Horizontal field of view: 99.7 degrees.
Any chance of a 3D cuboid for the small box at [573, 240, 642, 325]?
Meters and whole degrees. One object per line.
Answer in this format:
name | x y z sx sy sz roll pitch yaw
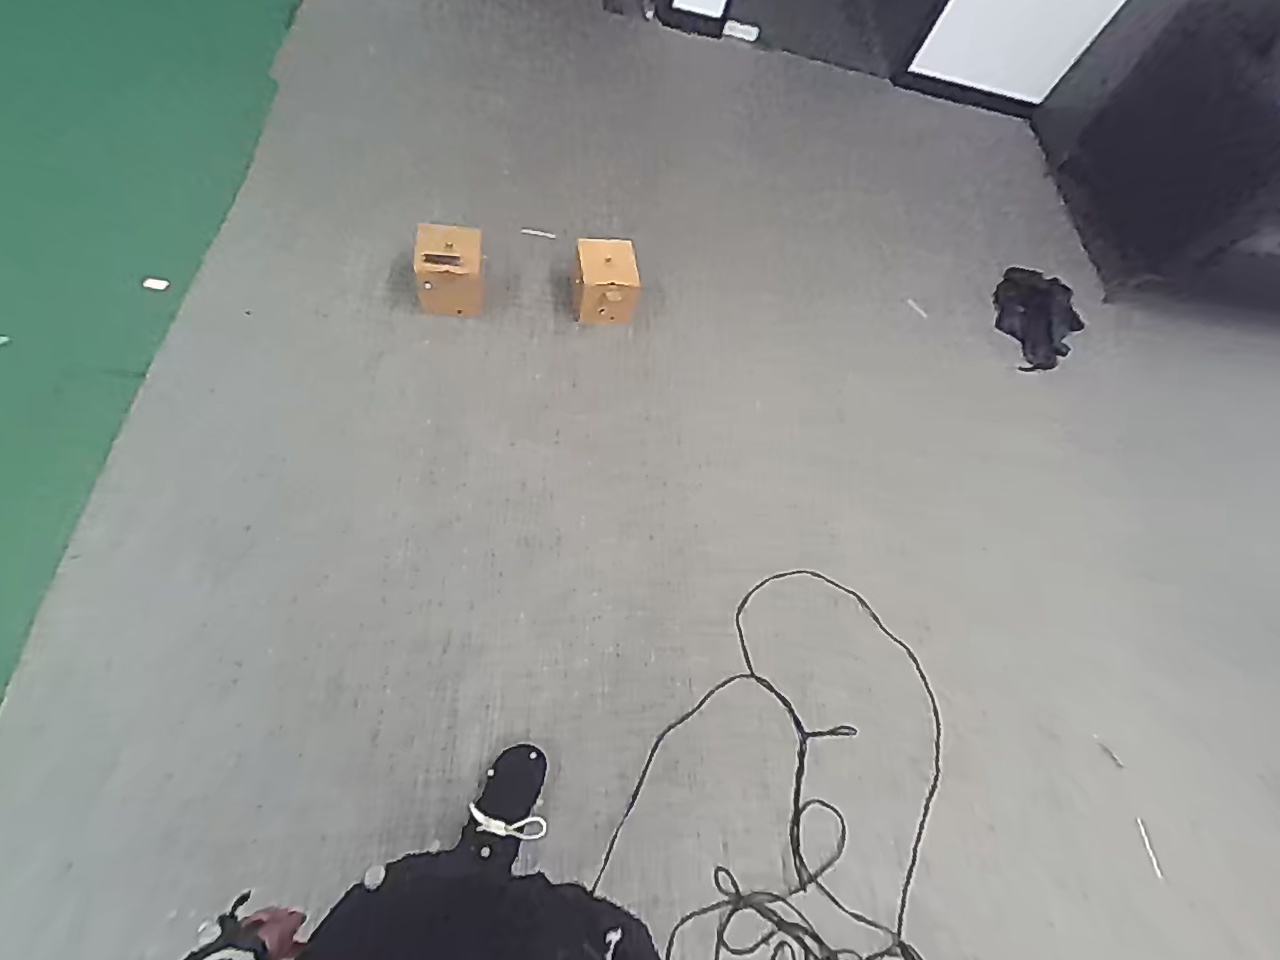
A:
small box | -0.105 -0.595 1.639 0.168 0.176 0.179 -4 67 -16
